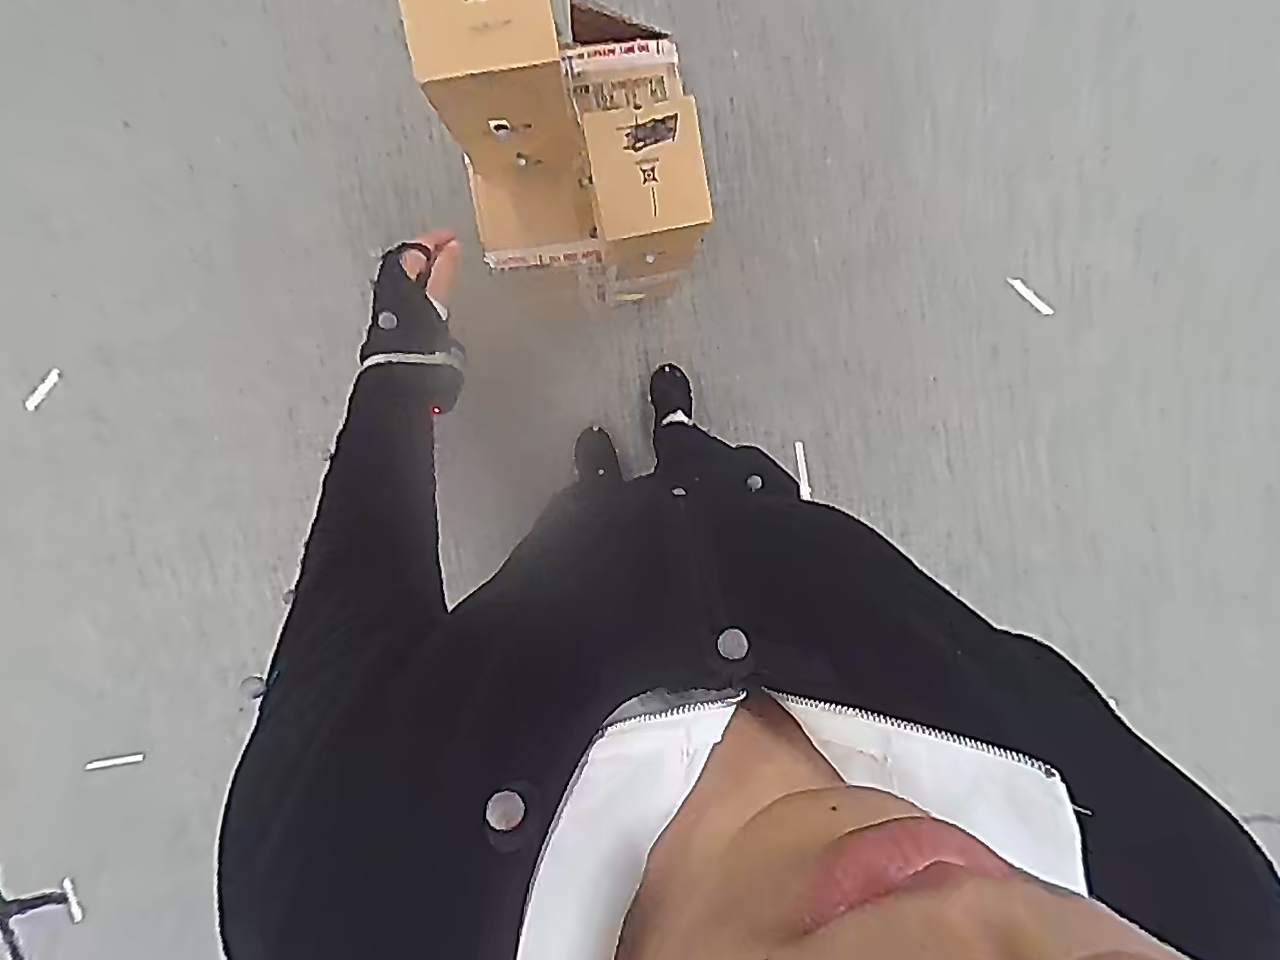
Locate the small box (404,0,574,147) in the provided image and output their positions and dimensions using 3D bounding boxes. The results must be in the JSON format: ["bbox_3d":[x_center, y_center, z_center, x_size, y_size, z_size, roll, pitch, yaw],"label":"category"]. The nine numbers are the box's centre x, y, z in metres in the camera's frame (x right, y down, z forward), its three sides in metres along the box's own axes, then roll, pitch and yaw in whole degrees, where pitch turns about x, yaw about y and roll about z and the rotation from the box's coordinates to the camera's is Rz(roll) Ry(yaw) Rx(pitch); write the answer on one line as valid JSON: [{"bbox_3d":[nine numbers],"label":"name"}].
[{"bbox_3d":[-0.181,-0.550,0.668,0.168,0.176,0.179,-10,101,0],"label":"small box"}]

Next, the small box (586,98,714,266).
[{"bbox_3d":[0.010,-0.460,0.859,0.168,0.176,0.179,-11,101,-2],"label":"small box"}]

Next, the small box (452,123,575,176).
[{"bbox_3d":[-0.198,-0.597,0.824,0.168,0.176,0.179,-9,100,-1],"label":"small box"}]
